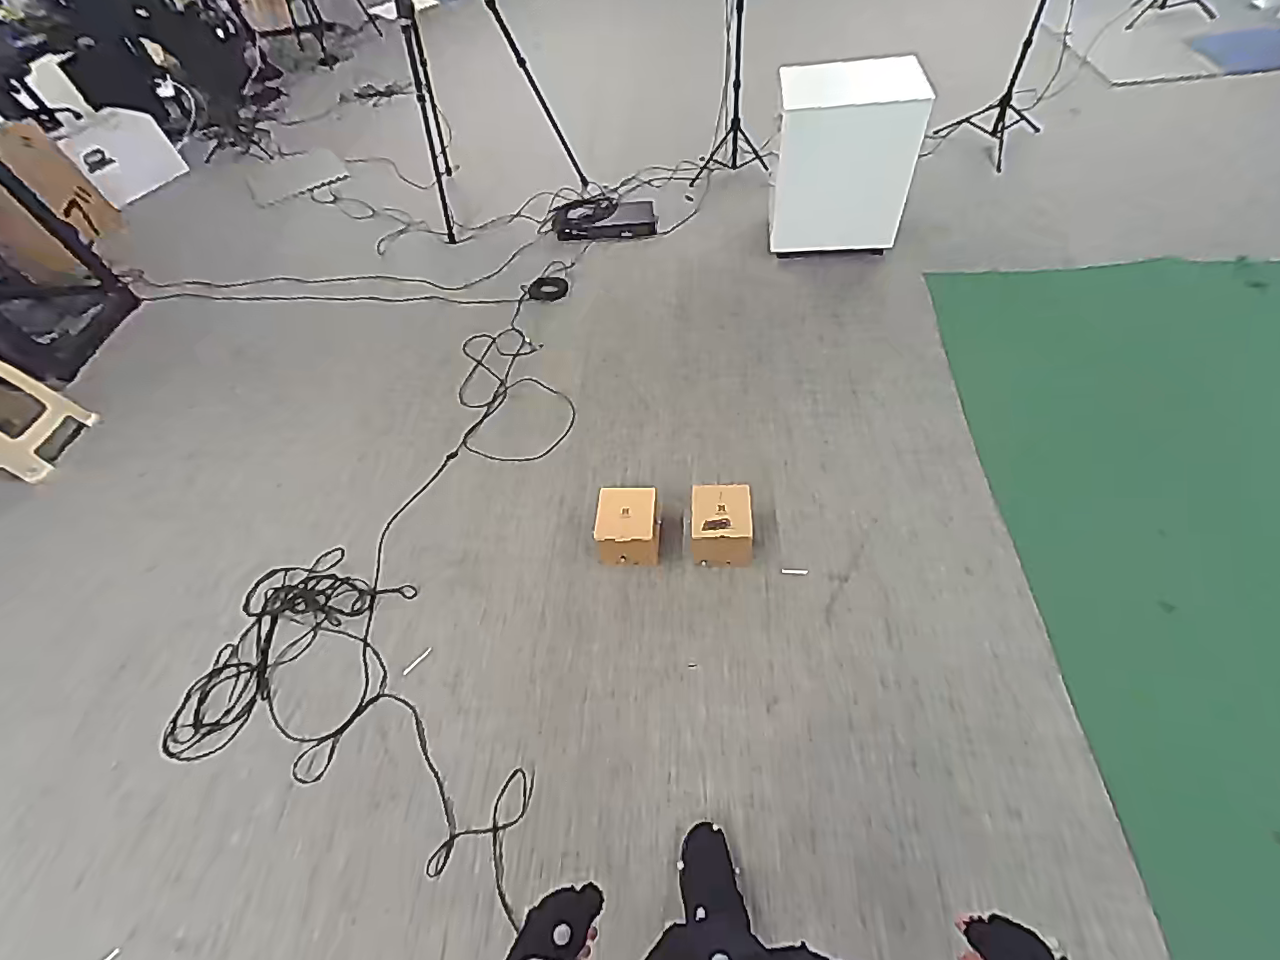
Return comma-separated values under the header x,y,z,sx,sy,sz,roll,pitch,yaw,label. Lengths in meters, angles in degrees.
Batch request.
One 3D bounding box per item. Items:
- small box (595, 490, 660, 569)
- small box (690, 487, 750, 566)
x,y,z,sx,sy,sz,roll,pitch,yaw,label
-0.032,0.147,1.606,0.168,0.176,0.179,-1,54,8,small box
0.233,0.139,1.573,0.168,0.176,0.179,-1,53,7,small box
